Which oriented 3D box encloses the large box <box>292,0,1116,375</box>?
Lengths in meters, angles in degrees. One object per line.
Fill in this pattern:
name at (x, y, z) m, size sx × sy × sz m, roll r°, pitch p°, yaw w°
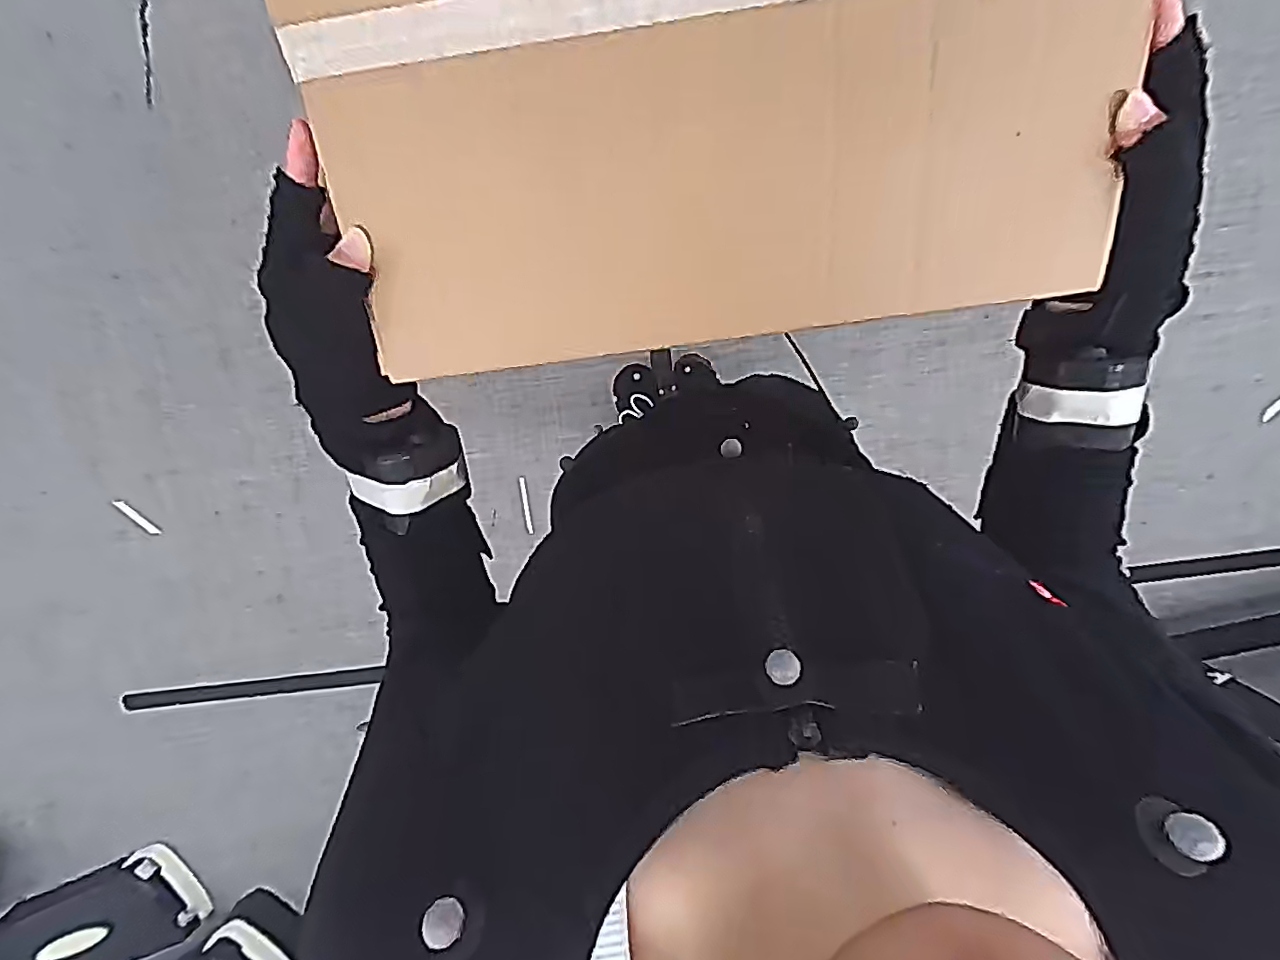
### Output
large box at (0.029, -0.283, 0.402) m, size 0.408 × 0.320 × 0.320 m, roll -7°, pitch 112°, yaw 2°
